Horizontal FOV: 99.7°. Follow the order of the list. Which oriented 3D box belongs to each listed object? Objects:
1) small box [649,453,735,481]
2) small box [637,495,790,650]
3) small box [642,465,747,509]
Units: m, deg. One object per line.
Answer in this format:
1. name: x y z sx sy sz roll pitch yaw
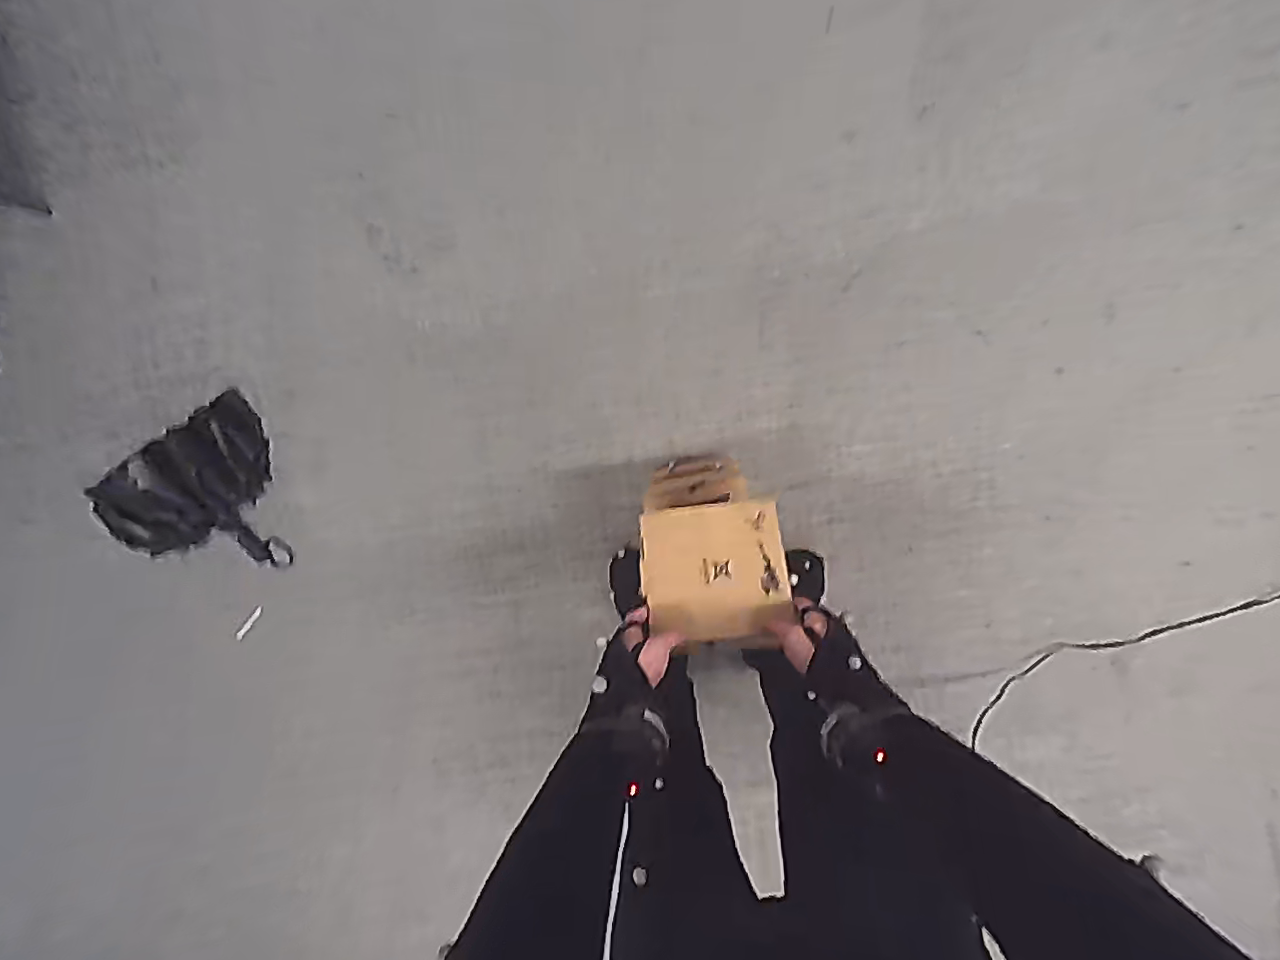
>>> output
1. small box: 0.118 0.046 1.106 0.168 0.176 0.179 -12 98 7
2. small box: 0.097 0.135 0.741 0.179 0.176 0.168 -7 66 5
3. small box: 0.104 0.075 0.945 0.168 0.176 0.179 -12 97 7
